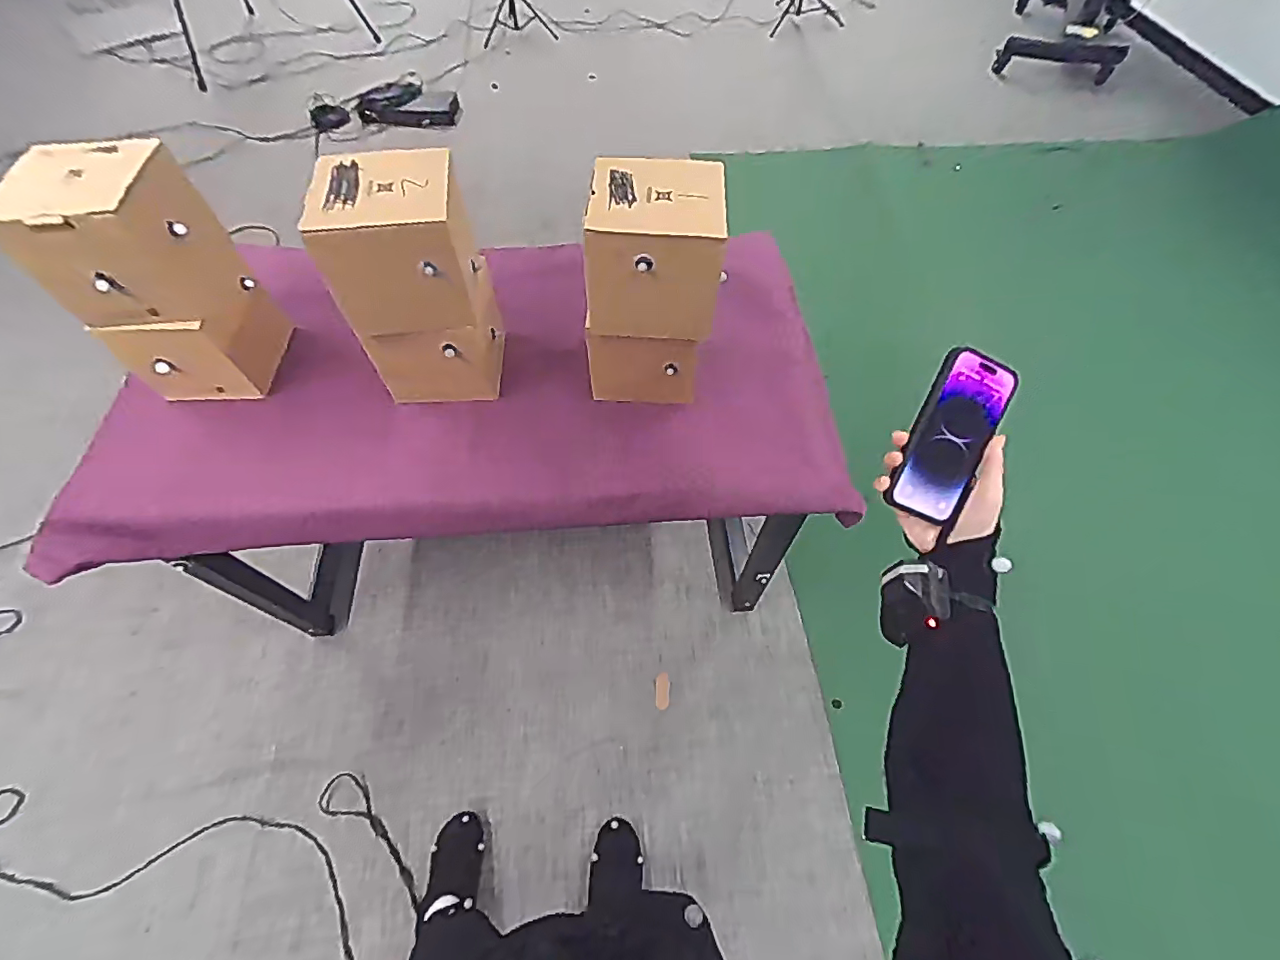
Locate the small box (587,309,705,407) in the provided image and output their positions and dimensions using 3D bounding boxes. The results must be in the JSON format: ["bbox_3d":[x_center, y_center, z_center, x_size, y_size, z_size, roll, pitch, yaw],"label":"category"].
[{"bbox_3d":[0.014,-0.238,0.904,0.179,0.176,0.168,3,58,3],"label":"small box"}]

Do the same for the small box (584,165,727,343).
[{"bbox_3d":[0.023,-0.311,0.757,0.179,0.176,0.168,3,58,1],"label":"small box"}]

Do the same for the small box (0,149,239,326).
[{"bbox_3d":[-0.719,-0.335,0.769,0.168,0.176,0.179,-6,59,-4],"label":"small box"}]

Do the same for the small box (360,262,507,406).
[{"bbox_3d":[-0.327,-0.238,0.902,0.179,0.176,0.168,-2,58,-1],"label":"small box"}]

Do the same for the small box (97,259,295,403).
[{"bbox_3d":[-0.718,-0.242,0.904,0.168,0.176,0.179,-1,58,-1],"label":"small box"}]
